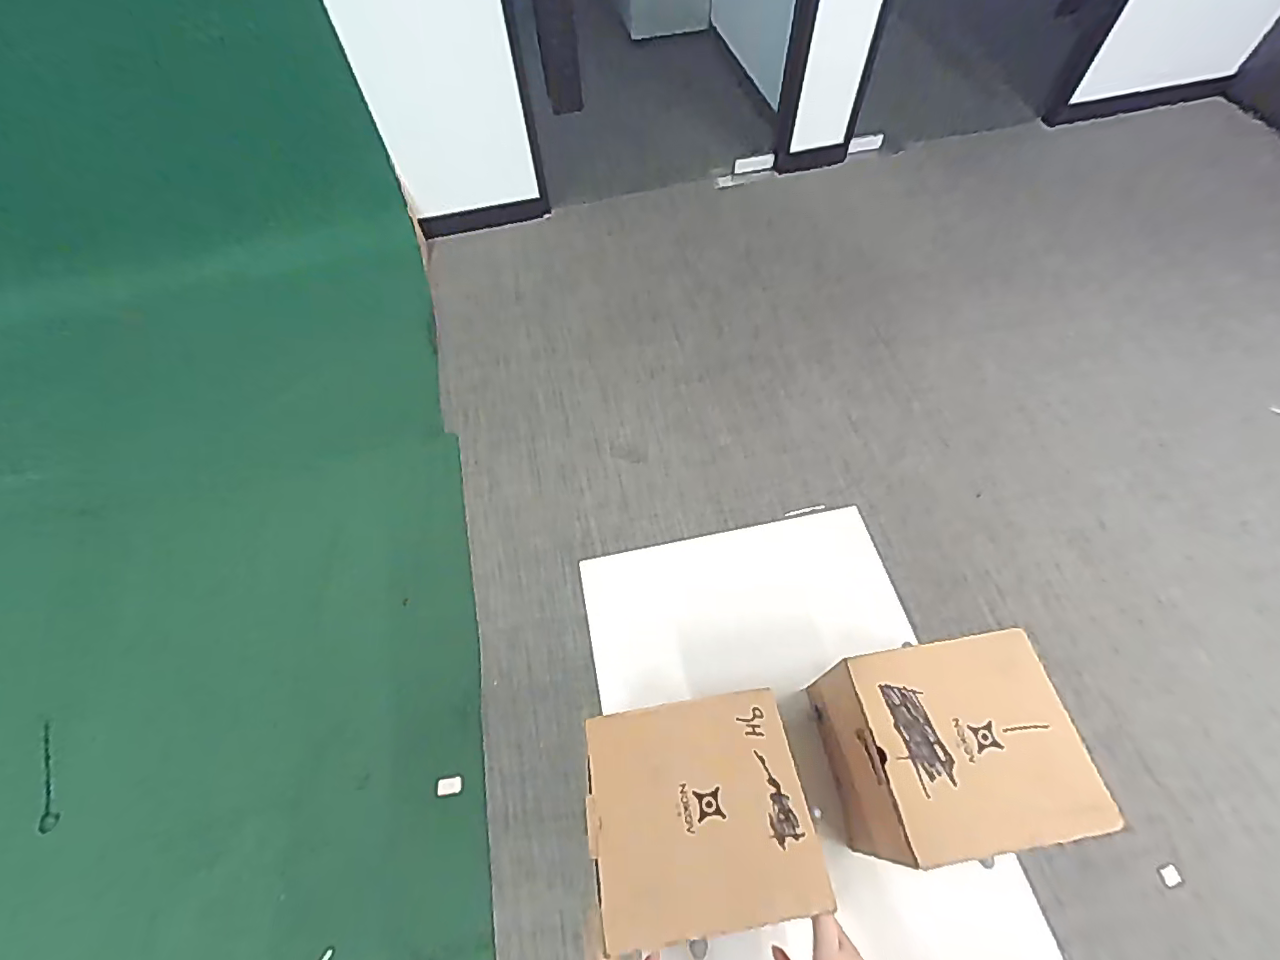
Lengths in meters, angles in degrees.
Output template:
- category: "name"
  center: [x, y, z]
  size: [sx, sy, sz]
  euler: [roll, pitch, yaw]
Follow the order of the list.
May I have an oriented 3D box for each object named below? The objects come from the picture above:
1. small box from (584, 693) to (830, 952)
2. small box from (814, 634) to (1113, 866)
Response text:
- category: "small box"
  center: [0.049, 0.320, 0.505]
  size: [0.179, 0.176, 0.168]
  euler: [-8, 51, -4]
- category: "small box"
  center: [0.289, 0.268, 0.540]
  size: [0.179, 0.176, 0.168]
  euler: [-9, 60, -3]
